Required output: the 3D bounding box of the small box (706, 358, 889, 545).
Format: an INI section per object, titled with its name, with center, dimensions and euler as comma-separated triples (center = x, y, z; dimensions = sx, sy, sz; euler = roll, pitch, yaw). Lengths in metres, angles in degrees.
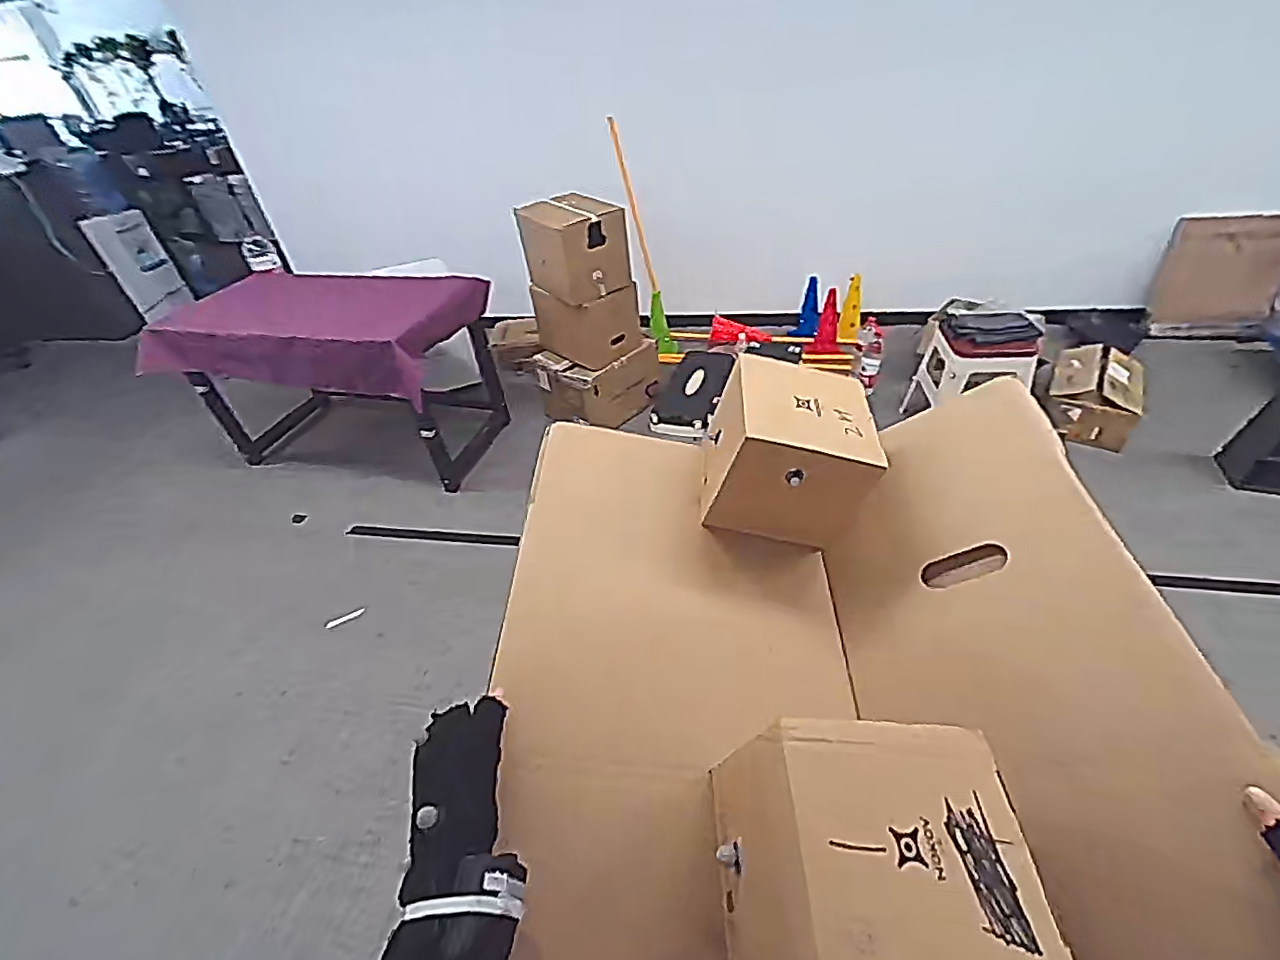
[small box]
center = 0.194, -0.033, 0.725
dimensions = 0.179, 0.176, 0.168
euler = 13, 48, -6
